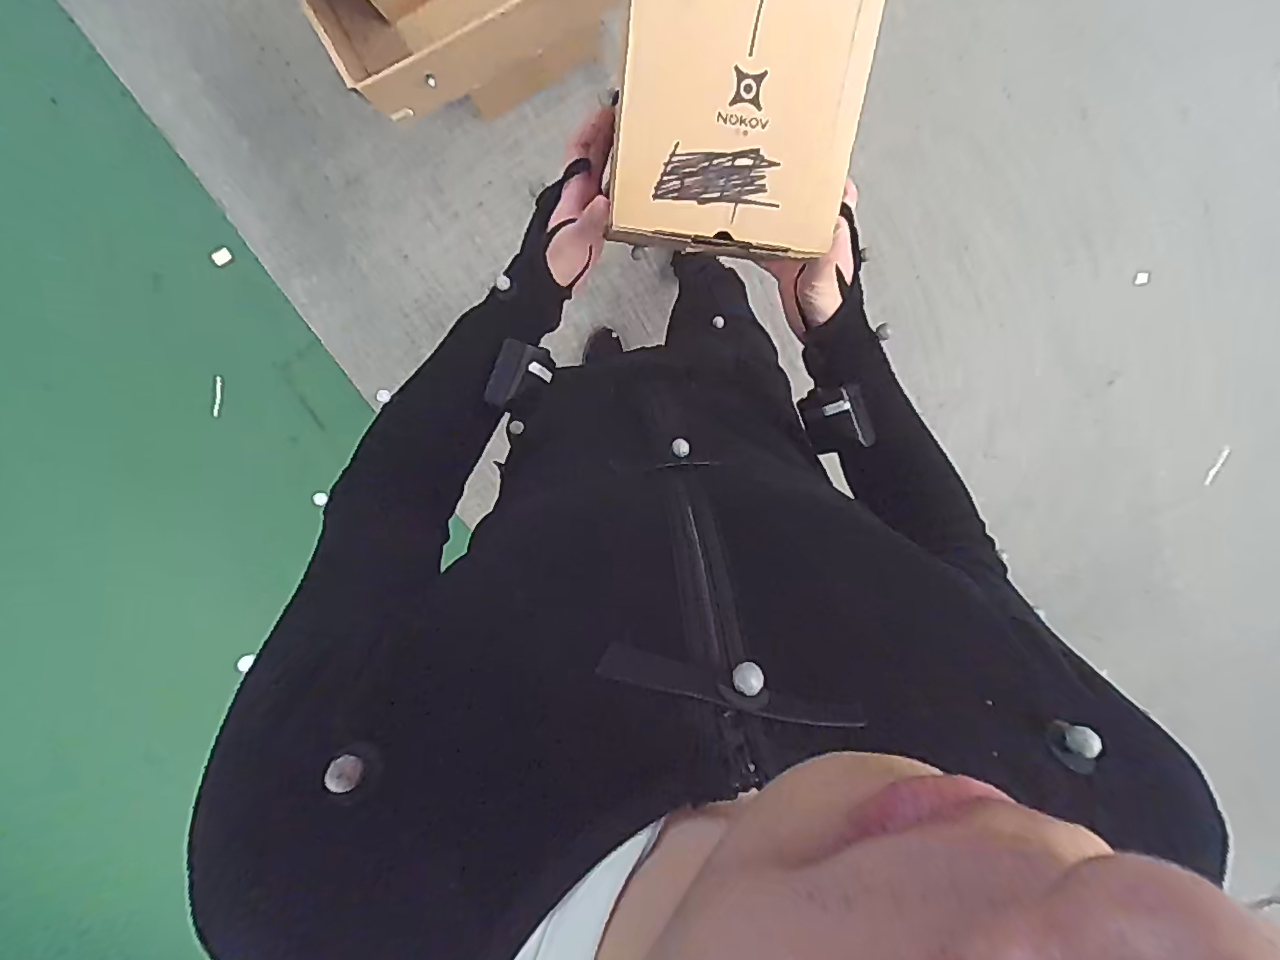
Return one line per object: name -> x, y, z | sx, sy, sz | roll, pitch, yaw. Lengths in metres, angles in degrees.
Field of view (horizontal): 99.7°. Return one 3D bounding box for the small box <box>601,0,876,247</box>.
small box -> 0.058, -0.290, 0.433 | 0.168, 0.176, 0.179 | 4, 111, -6
